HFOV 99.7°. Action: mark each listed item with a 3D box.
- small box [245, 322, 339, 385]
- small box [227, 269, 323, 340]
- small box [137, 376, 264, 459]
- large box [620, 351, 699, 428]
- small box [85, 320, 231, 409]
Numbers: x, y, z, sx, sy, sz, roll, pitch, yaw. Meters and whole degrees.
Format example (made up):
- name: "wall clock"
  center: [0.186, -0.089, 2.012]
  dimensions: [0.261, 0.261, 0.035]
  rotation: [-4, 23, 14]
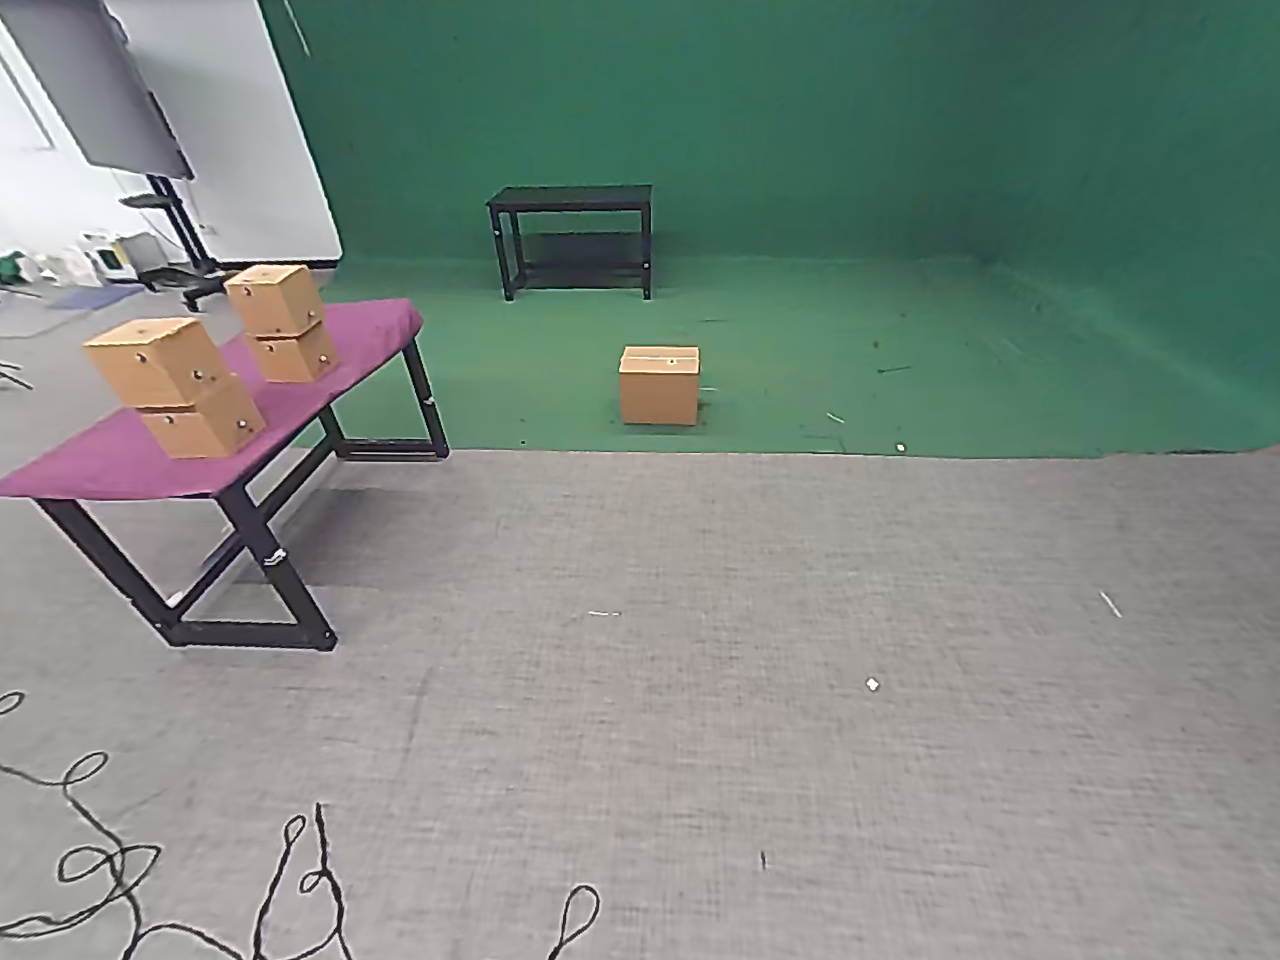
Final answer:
- name: "small box"
  center: [-1.156, -0.429, 1.809]
  dimensions: [0.179, 0.176, 0.168]
  rotation: [2, 38, 5]
- name: "small box"
  center: [-1.134, -0.554, 1.702]
  dimensions: [0.168, 0.176, 0.179]
  rotation: [0, 37, 3]
- name: "small box"
  center: [-1.177, -0.168, 1.462]
  dimensions: [0.179, 0.176, 0.168]
  rotation: [-1, 38, 4]
- name: "large box"
  center: [0.109, -0.487, 2.903]
  dimensions: [0.408, 0.320, 0.320]
  rotation: [3, 38, 5]
- name: "small box"
  center: [-1.192, -0.288, 1.353]
  dimensions: [0.179, 0.176, 0.168]
  rotation: [-1, 37, 4]
